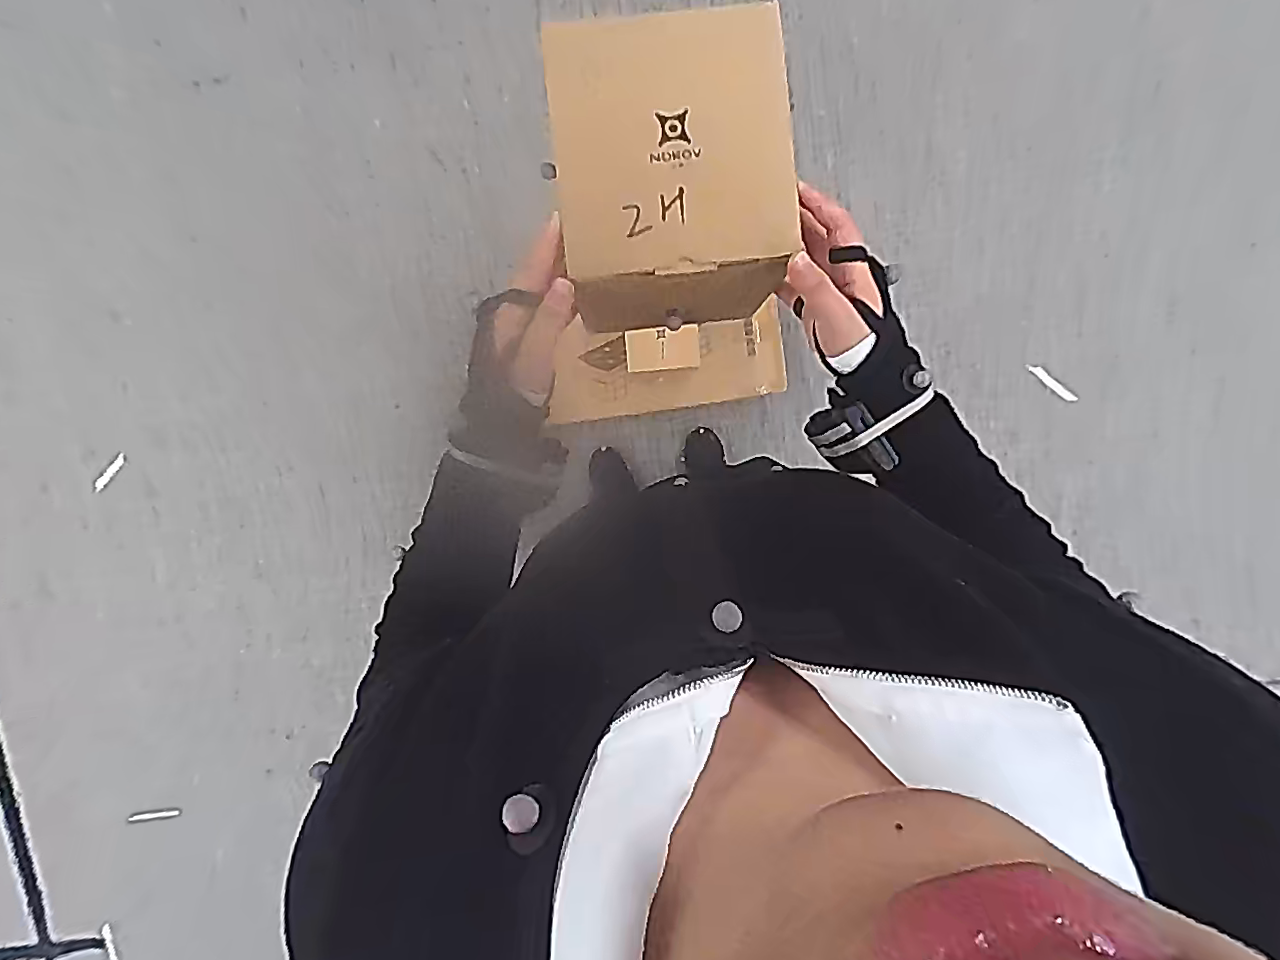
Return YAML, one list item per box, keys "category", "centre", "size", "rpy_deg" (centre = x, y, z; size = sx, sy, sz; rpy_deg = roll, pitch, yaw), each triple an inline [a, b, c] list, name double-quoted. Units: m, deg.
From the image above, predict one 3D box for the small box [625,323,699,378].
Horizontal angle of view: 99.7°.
- category: "small box"
  centre: [0.047, -0.344, 1.284]
  size: [0.168, 0.176, 0.179]
  rpy_deg: [-4, 95, 1]

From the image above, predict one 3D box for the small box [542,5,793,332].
- category: "small box"
  centre: [0.018, -0.238, 0.456]
  size: [0.168, 0.176, 0.179]
  rpy_deg: [-6, 92, 0]
